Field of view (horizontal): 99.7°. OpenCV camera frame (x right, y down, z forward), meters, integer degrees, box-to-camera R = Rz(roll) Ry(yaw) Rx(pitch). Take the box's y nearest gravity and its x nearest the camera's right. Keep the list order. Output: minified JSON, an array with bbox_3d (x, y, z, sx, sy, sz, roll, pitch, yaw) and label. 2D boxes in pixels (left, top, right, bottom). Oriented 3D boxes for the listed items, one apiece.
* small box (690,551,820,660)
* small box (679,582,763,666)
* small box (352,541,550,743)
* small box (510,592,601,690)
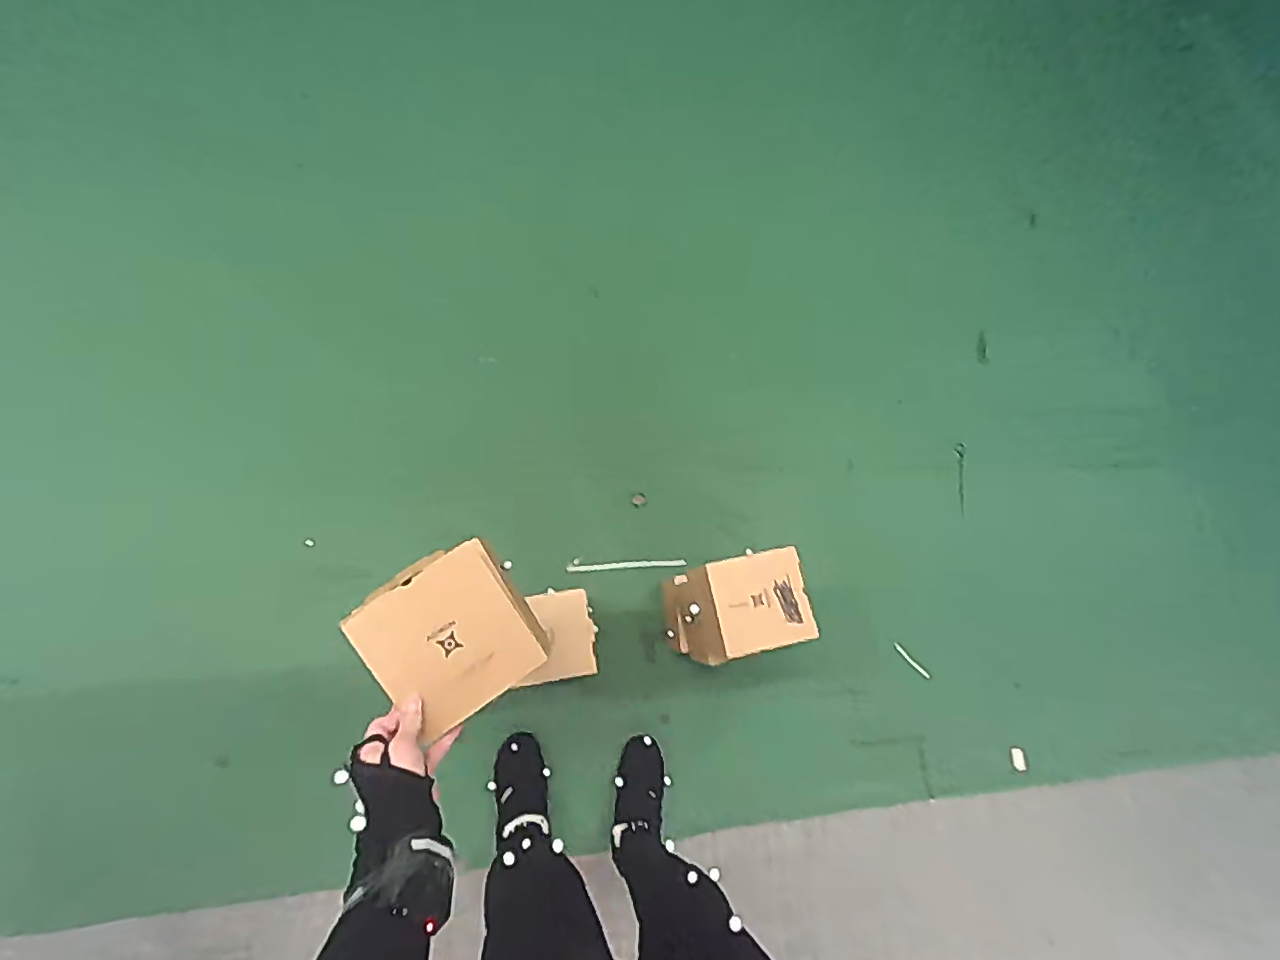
[{"bbox_3d":[0.209,0.236,1.028,0.179,0.176,0.168,-10,77,-9],"label":"small box"},{"bbox_3d":[0.193,0.294,1.183,0.168,0.176,0.179,-12,78,-10],"label":"small box"},{"bbox_3d":[-0.233,0.201,0.709,0.168,0.176,0.179,-32,85,-11],"label":"small box"},{"bbox_3d":[-0.183,0.330,1.128,0.179,0.176,0.168,-7,75,-9],"label":"small box"}]
